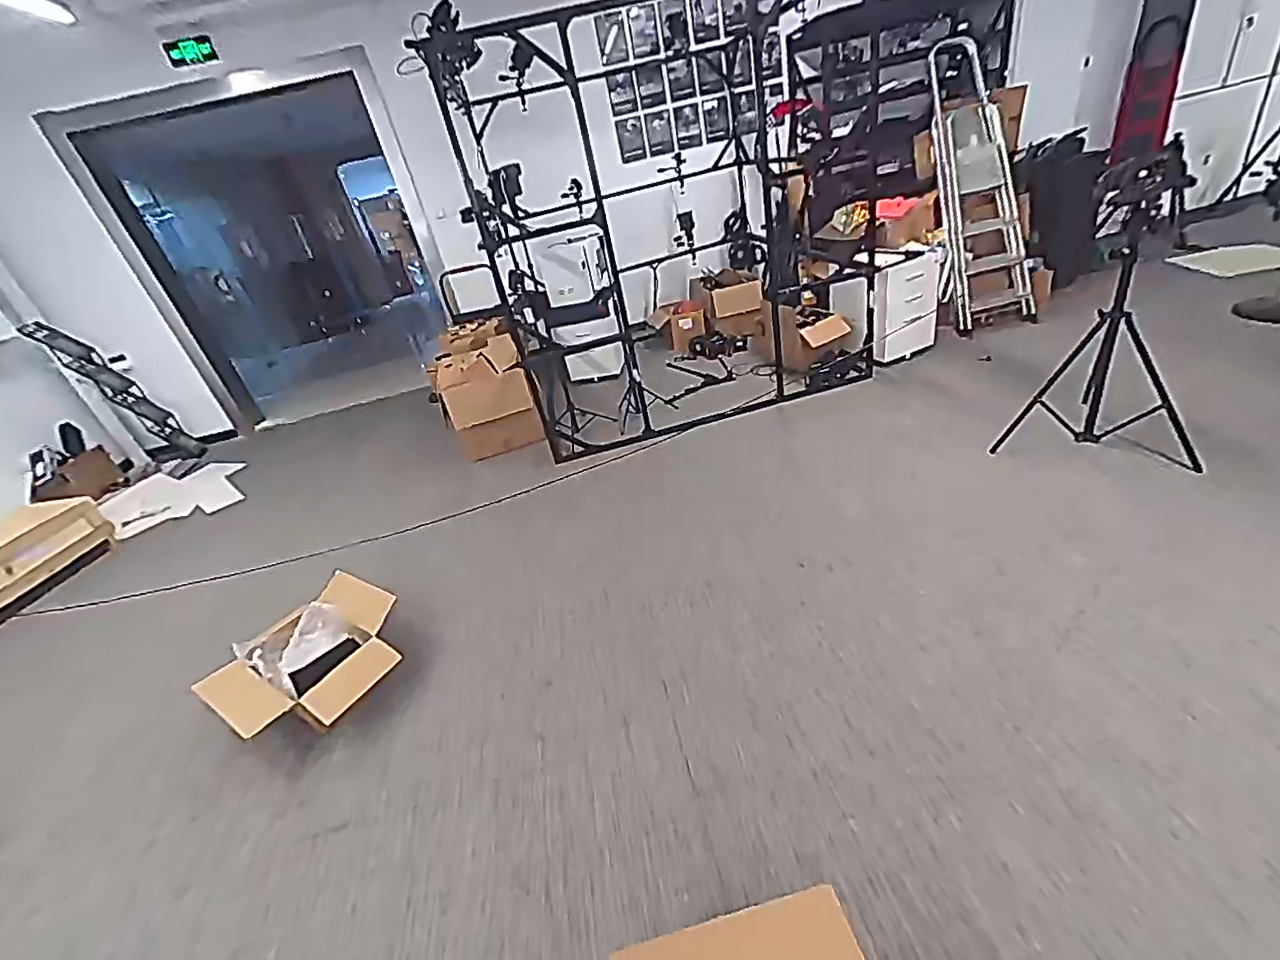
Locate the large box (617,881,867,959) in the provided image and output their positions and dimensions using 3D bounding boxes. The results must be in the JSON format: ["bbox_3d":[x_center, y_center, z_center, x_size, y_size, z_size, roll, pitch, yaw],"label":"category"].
[{"bbox_3d":[0.204,0.954,0.879,0.408,0.320,0.320,-16,31,-3],"label":"large box"}]
